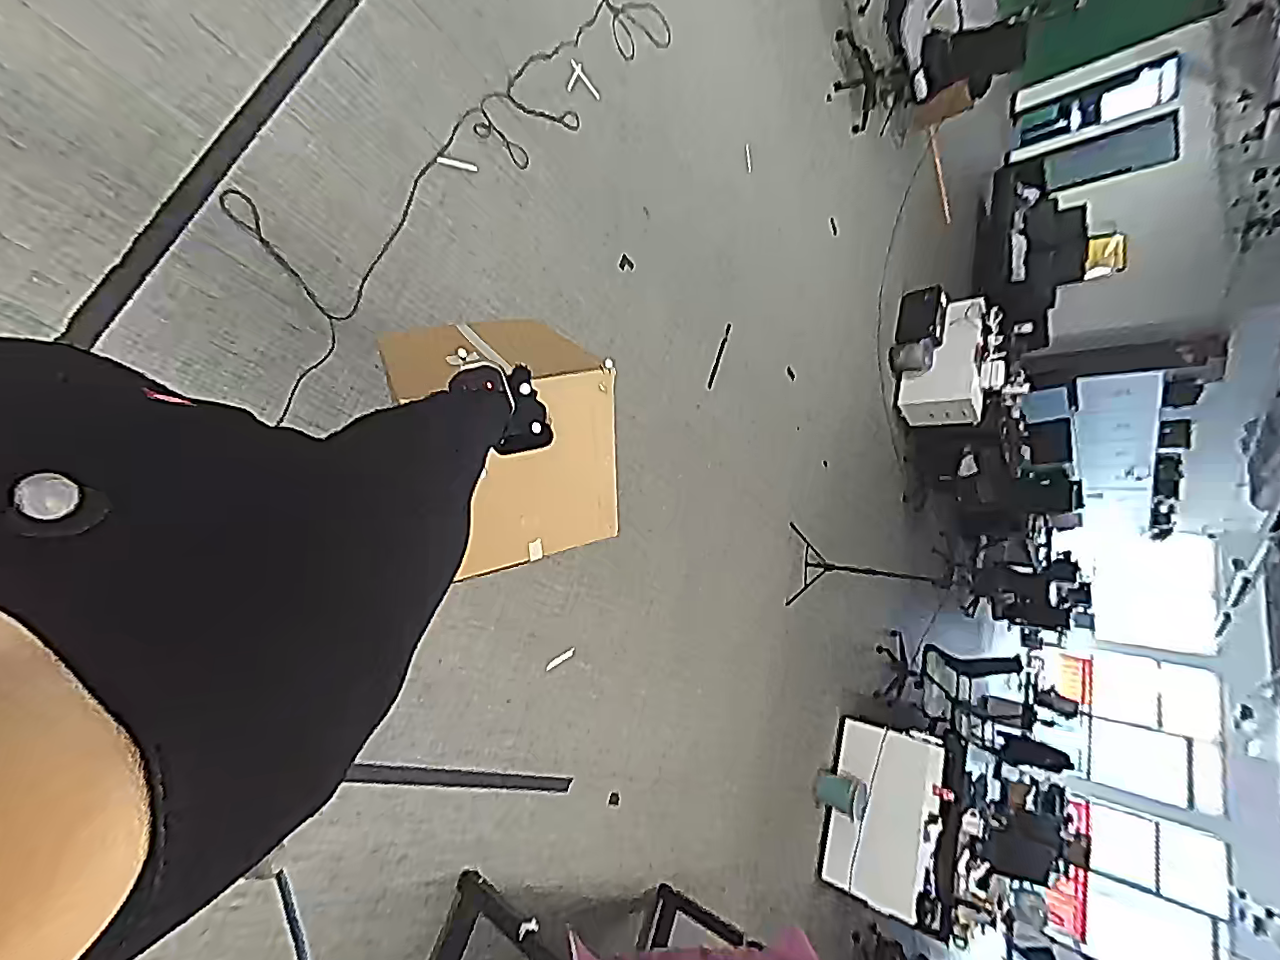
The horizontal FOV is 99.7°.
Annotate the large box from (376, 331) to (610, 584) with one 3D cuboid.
[{"bbox_3d":[-0.279,-0.073,1.010,0.320,0.408,0.320,-13,122,-25],"label":"large box"}]
